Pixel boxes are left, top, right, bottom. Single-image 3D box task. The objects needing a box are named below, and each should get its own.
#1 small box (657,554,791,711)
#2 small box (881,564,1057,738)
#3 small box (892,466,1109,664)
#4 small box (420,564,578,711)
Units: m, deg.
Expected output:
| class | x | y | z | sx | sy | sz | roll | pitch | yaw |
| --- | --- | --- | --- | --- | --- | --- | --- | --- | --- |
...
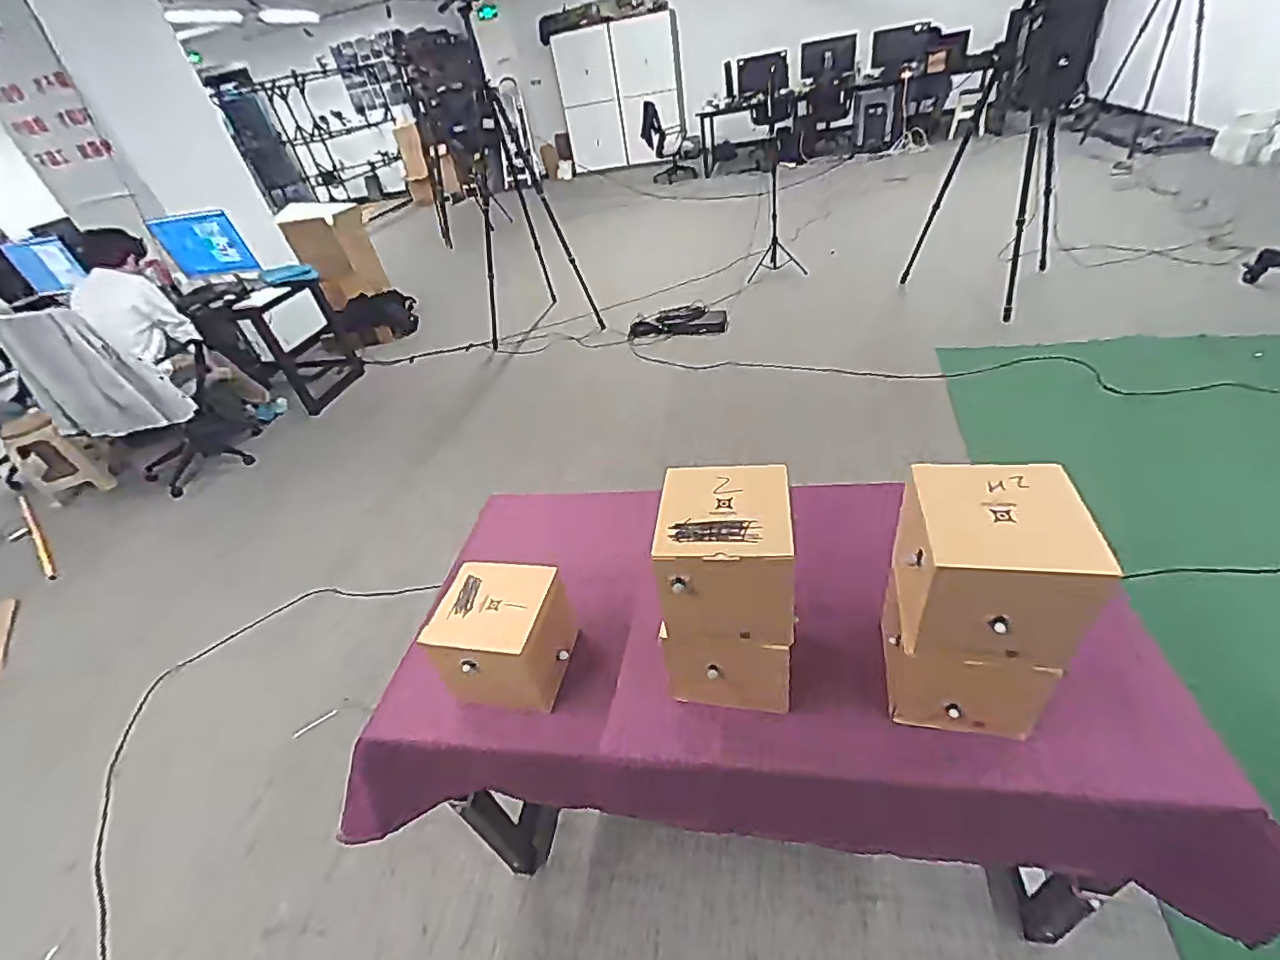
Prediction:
| class | x | y | z | sx | sy | sz | roll | pitch | yaw |
| --- | --- | --- | --- | --- | --- | --- | --- | --- | --- |
| small box | 0.139 | 0.234 | 0.835 | 0.179 | 0.176 | 0.168 | 0 | 39 | 17 |
| small box | 0.441 | 0.229 | 0.762 | 0.168 | 0.176 | 0.179 | 1 | 40 | 17 |
| small box | 0.415 | 0.101 | 0.660 | 0.168 | 0.176 | 0.179 | 1 | 40 | 15 |
| small box | -0.221 | 0.260 | 0.898 | 0.179 | 0.176 | 0.168 | 1 | 39 | 15 |
